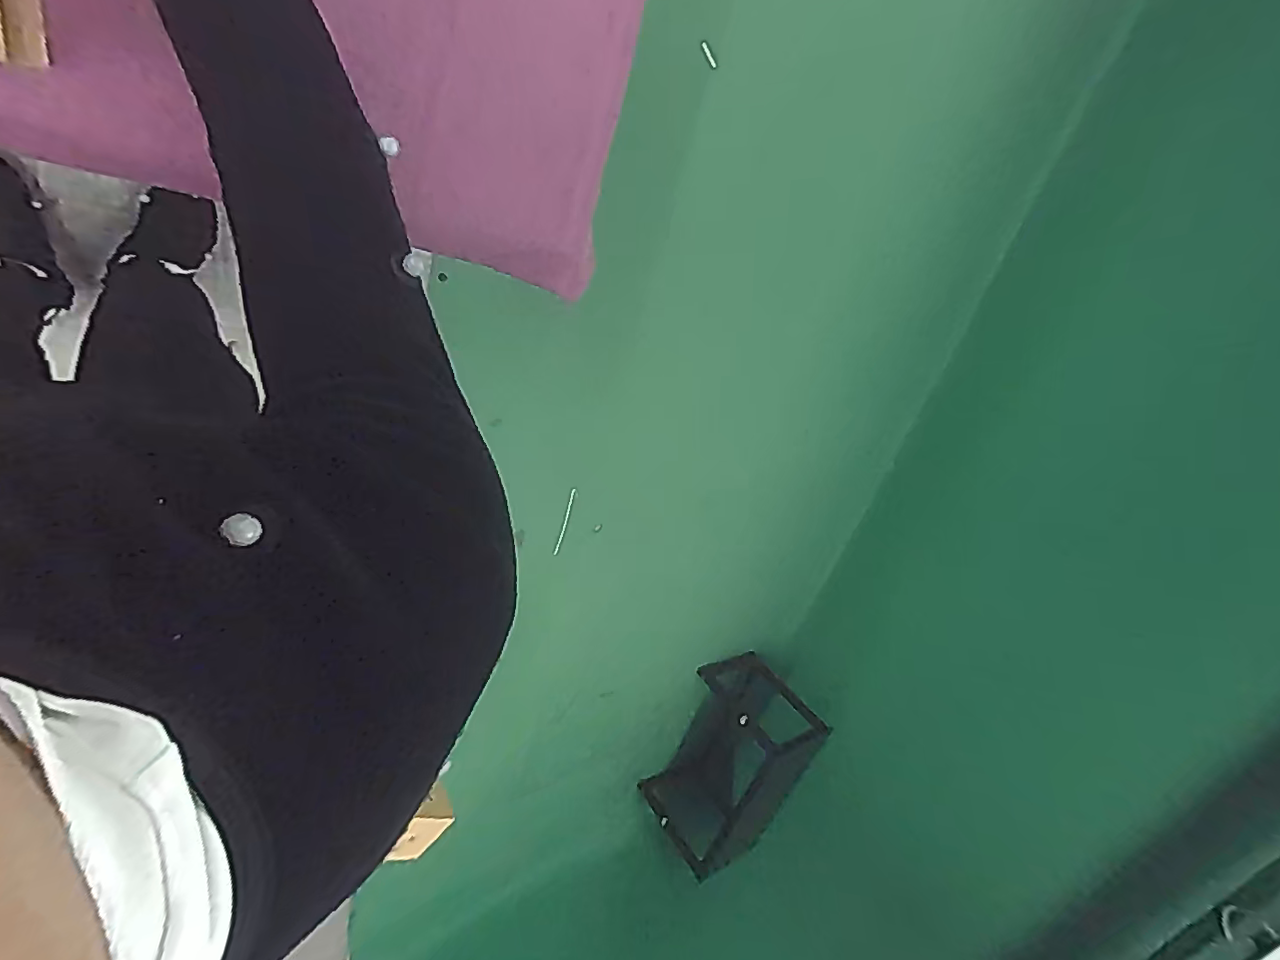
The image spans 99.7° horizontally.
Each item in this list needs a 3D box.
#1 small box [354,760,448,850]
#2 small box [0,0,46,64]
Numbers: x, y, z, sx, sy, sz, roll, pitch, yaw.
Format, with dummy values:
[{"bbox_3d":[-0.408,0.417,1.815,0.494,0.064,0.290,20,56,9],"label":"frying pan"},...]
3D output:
[{"bbox_3d":[-0.723,0.976,1.633,0.168,0.176,0.179,-47,139,-1],"label":"small box"},{"bbox_3d":[-0.520,-0.403,0.344,0.168,0.176,0.179,-2,121,-39],"label":"small box"}]
